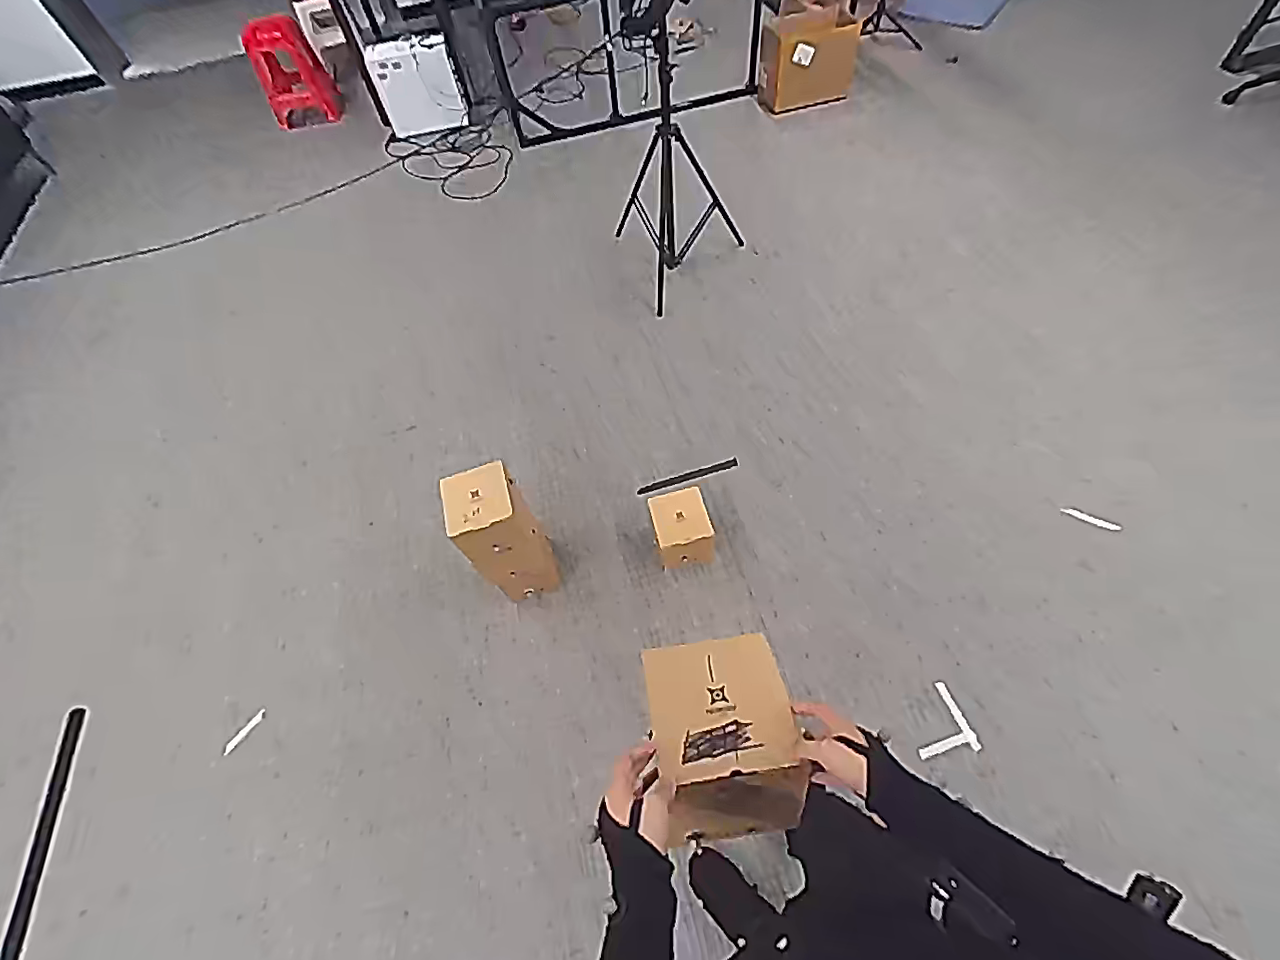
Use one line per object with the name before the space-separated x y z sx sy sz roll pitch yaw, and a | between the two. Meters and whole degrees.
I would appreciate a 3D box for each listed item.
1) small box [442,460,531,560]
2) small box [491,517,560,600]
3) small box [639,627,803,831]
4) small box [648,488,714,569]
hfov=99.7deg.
small box | -0.394 0.081 1.400 0.168 0.176 0.179 -18 59 -4
small box | -0.360 0.248 1.680 0.168 0.176 0.179 -18 58 -4
small box | 0.094 0.319 0.688 0.168 0.176 0.179 -7 37 -3
small box | 0.125 0.153 1.689 0.168 0.176 0.179 -14 58 -3
